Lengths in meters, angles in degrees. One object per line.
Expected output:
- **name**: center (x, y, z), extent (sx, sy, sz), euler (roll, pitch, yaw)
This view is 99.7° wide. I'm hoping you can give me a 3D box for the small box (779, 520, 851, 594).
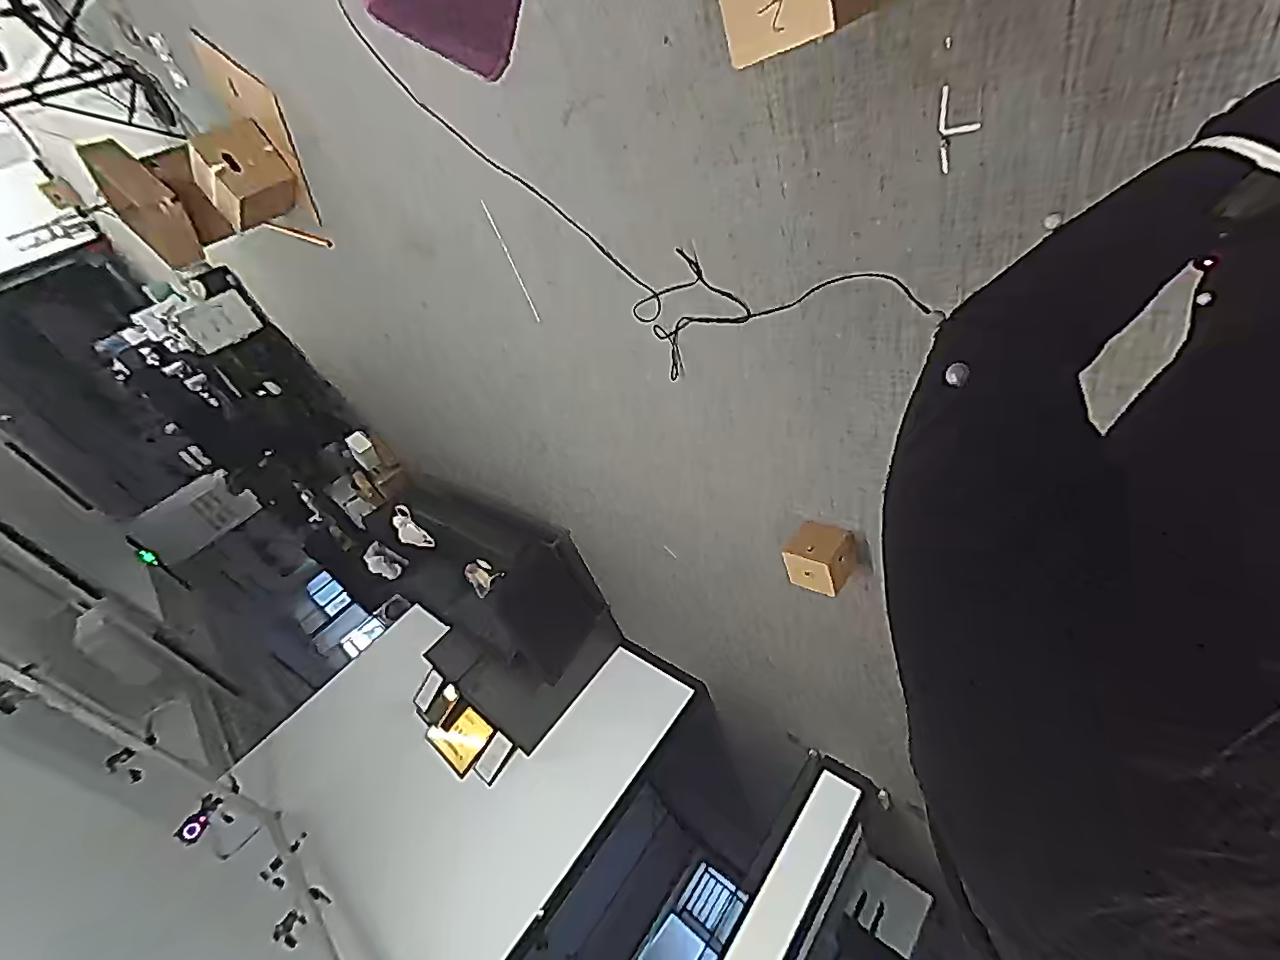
- **small box**: center (0.623, 0.264, 1.901), extent (0.179, 0.176, 0.168), euler (15, 139, 45)
